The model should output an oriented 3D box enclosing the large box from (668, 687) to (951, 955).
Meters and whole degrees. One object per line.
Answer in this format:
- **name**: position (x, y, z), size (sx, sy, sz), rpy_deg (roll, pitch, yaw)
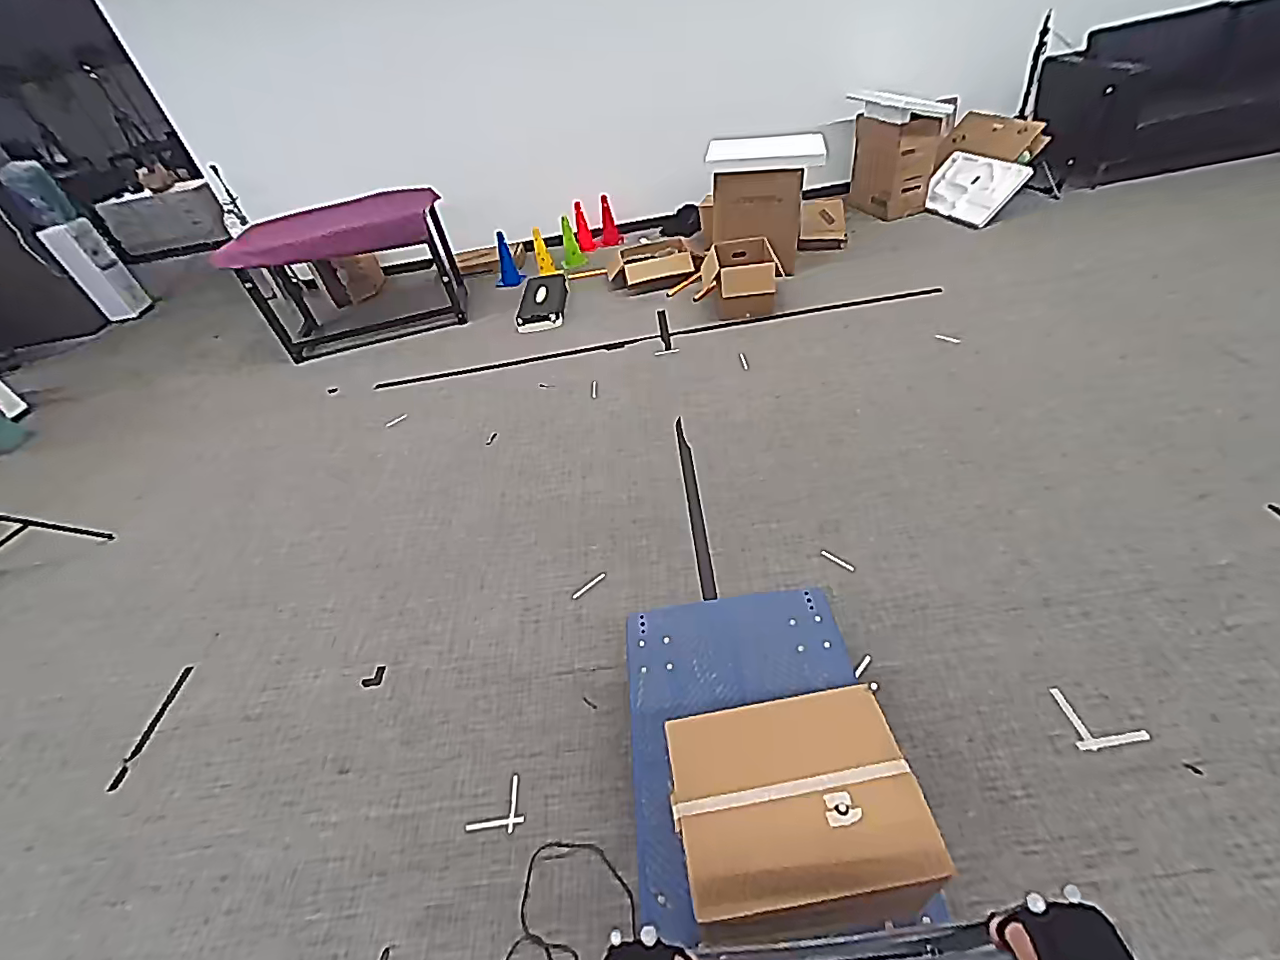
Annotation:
- **large box**: position (0.287, 0.652, 1.039), size (0.408, 0.320, 0.320), rpy_deg (-10, 42, -1)
